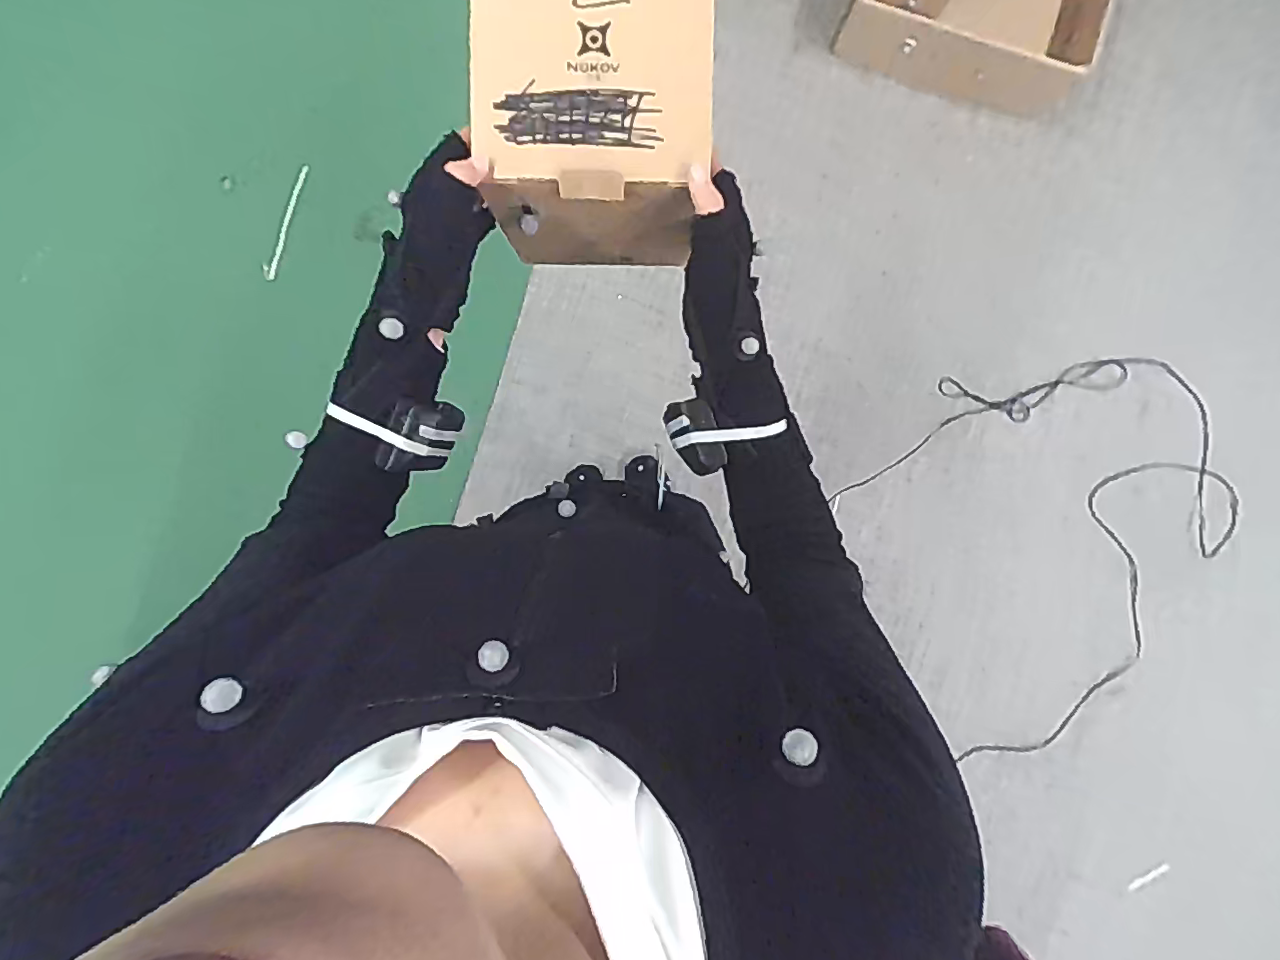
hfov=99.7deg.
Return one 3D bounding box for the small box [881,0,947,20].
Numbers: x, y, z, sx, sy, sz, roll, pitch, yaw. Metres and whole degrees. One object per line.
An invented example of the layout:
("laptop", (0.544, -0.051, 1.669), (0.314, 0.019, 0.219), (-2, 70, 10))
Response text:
("small box", (0.718, -1.303, 1.328), (0.168, 0.176, 0.179), (17, 91, -3))
